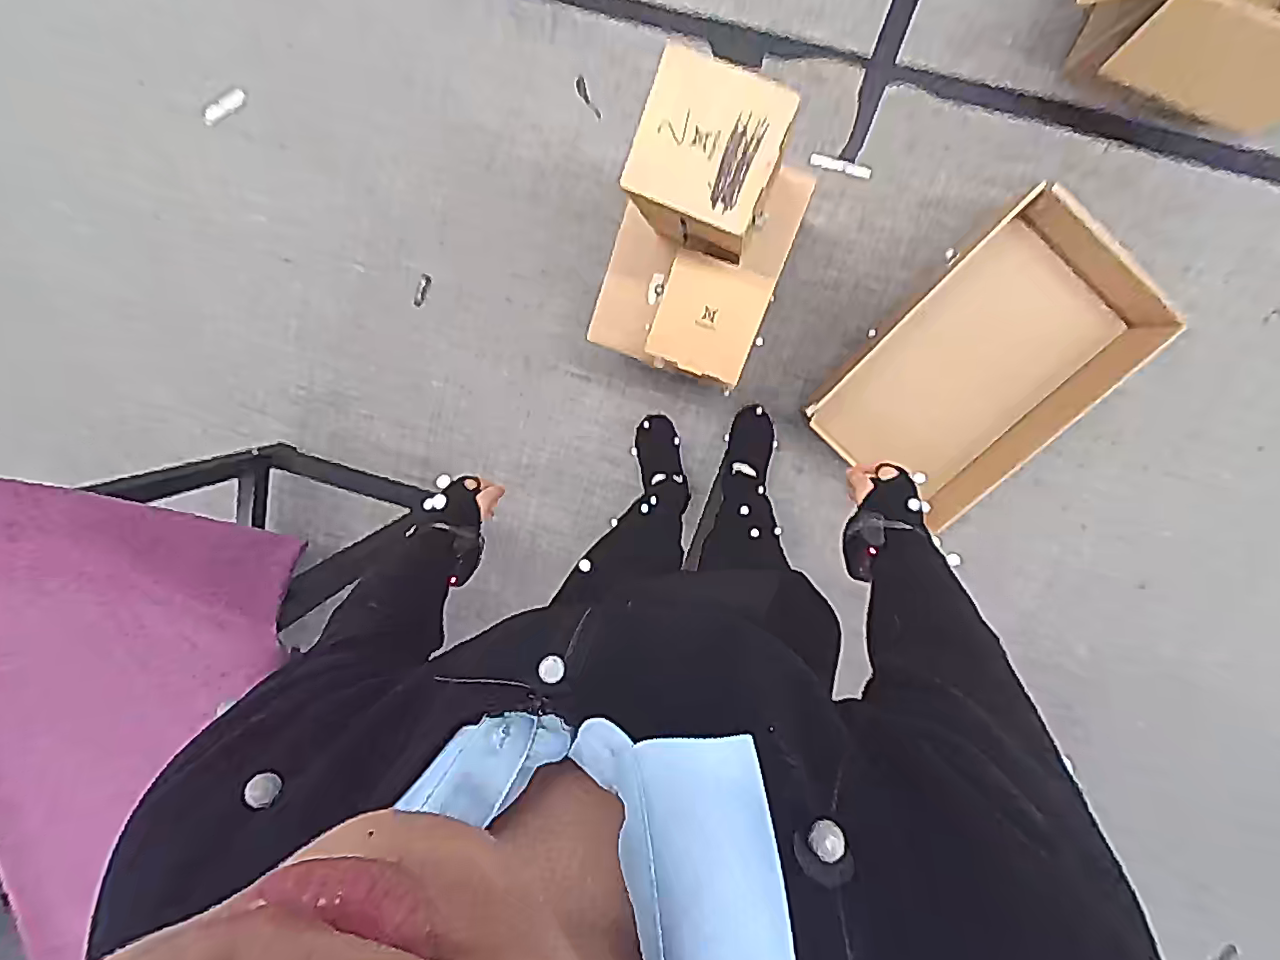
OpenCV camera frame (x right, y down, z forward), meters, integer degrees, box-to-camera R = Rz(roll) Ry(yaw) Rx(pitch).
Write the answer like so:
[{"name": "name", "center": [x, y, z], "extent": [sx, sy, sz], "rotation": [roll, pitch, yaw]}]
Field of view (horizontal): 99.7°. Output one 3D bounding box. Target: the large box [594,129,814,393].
[{"name": "large box", "center": [0.130, -0.441, 1.156], "extent": [0.320, 0.320, 0.408], "rotation": [21, 108, 4]}]

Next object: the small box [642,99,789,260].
[{"name": "small box", "center": [0.122, -0.478, 0.890], "extent": [0.179, 0.176, 0.168], "rotation": [23, 109, 2]}]
